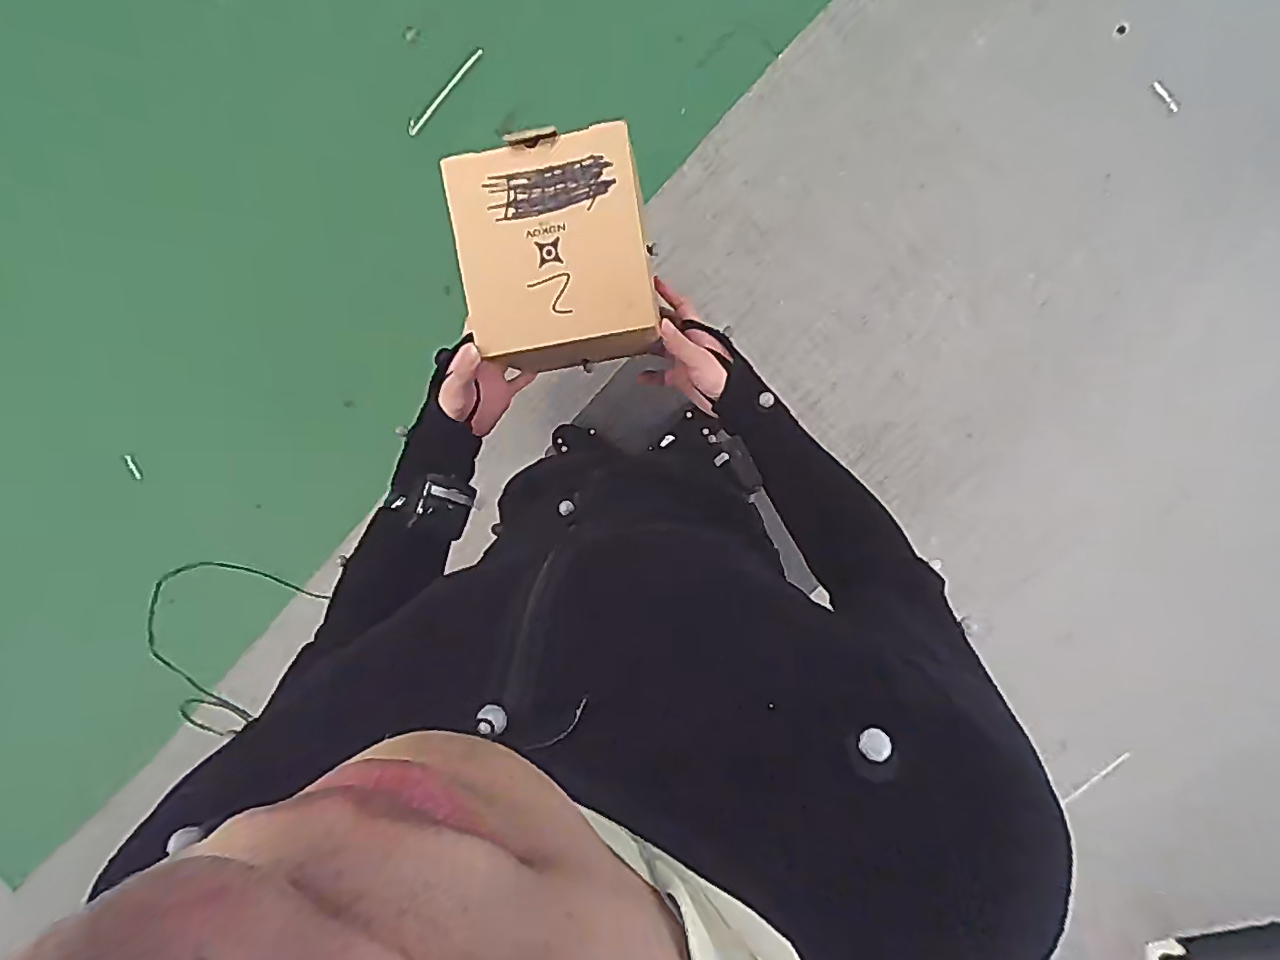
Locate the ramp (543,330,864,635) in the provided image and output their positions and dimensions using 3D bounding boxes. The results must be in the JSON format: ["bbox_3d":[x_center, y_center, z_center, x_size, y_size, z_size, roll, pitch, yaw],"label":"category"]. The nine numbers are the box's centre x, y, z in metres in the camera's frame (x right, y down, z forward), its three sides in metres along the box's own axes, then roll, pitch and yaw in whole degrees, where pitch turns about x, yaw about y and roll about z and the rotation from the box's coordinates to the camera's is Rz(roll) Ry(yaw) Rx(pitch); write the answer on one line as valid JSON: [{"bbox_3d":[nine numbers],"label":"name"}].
[{"bbox_3d":[0.233,0.054,1.699,0.991,0.206,0.509,41,98,-6],"label":"ramp"}]
